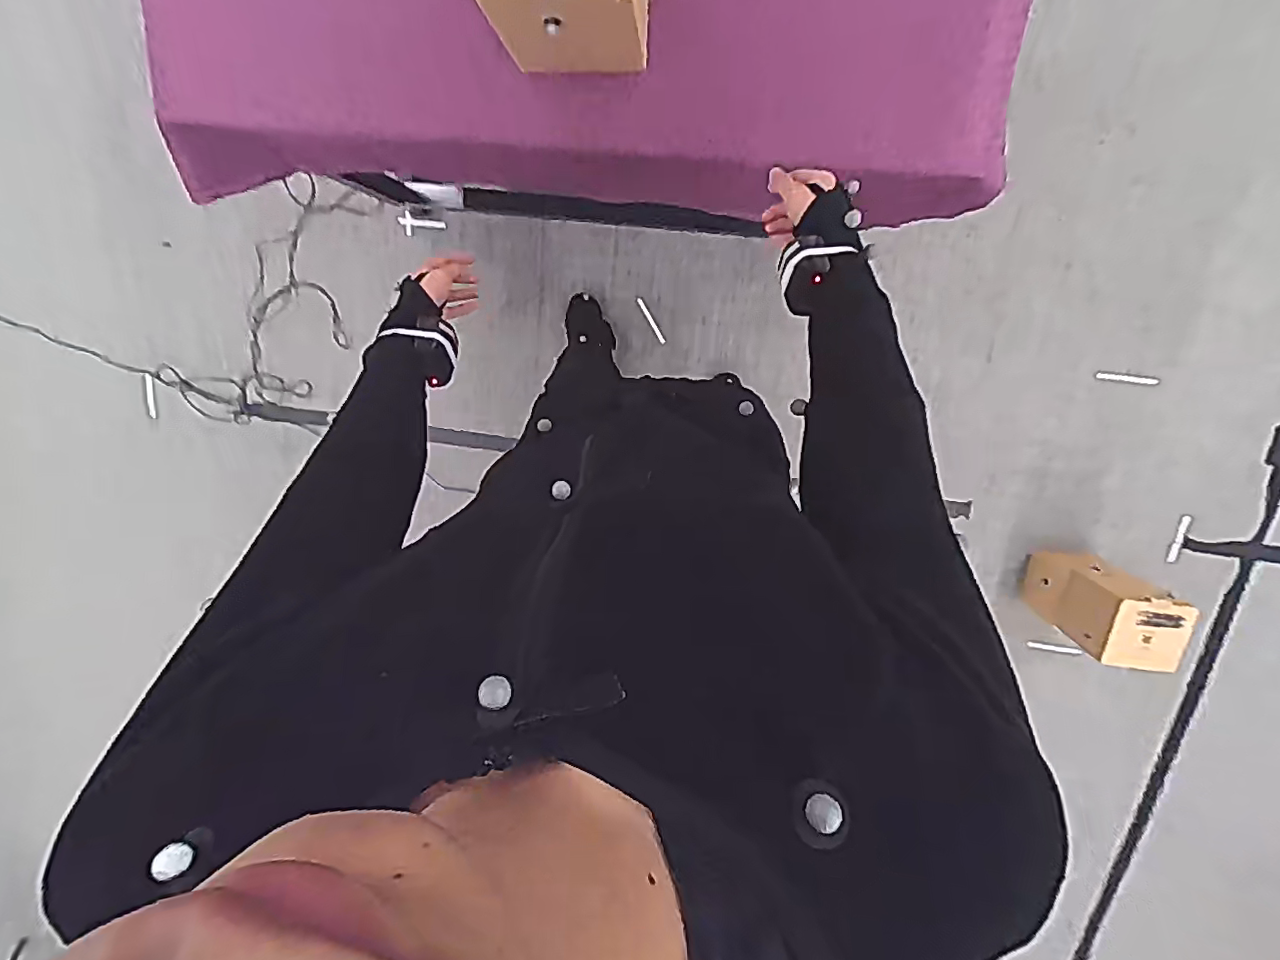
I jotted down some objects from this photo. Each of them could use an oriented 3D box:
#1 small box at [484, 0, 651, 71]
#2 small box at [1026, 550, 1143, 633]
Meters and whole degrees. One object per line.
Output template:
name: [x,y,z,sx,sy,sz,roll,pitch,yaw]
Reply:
small box: [-0.081,-0.617,0.640,0.179,0.176,0.168,3,105,5]
small box: [1.209,0.300,1.487,0.179,0.176,0.168,3,105,5]
